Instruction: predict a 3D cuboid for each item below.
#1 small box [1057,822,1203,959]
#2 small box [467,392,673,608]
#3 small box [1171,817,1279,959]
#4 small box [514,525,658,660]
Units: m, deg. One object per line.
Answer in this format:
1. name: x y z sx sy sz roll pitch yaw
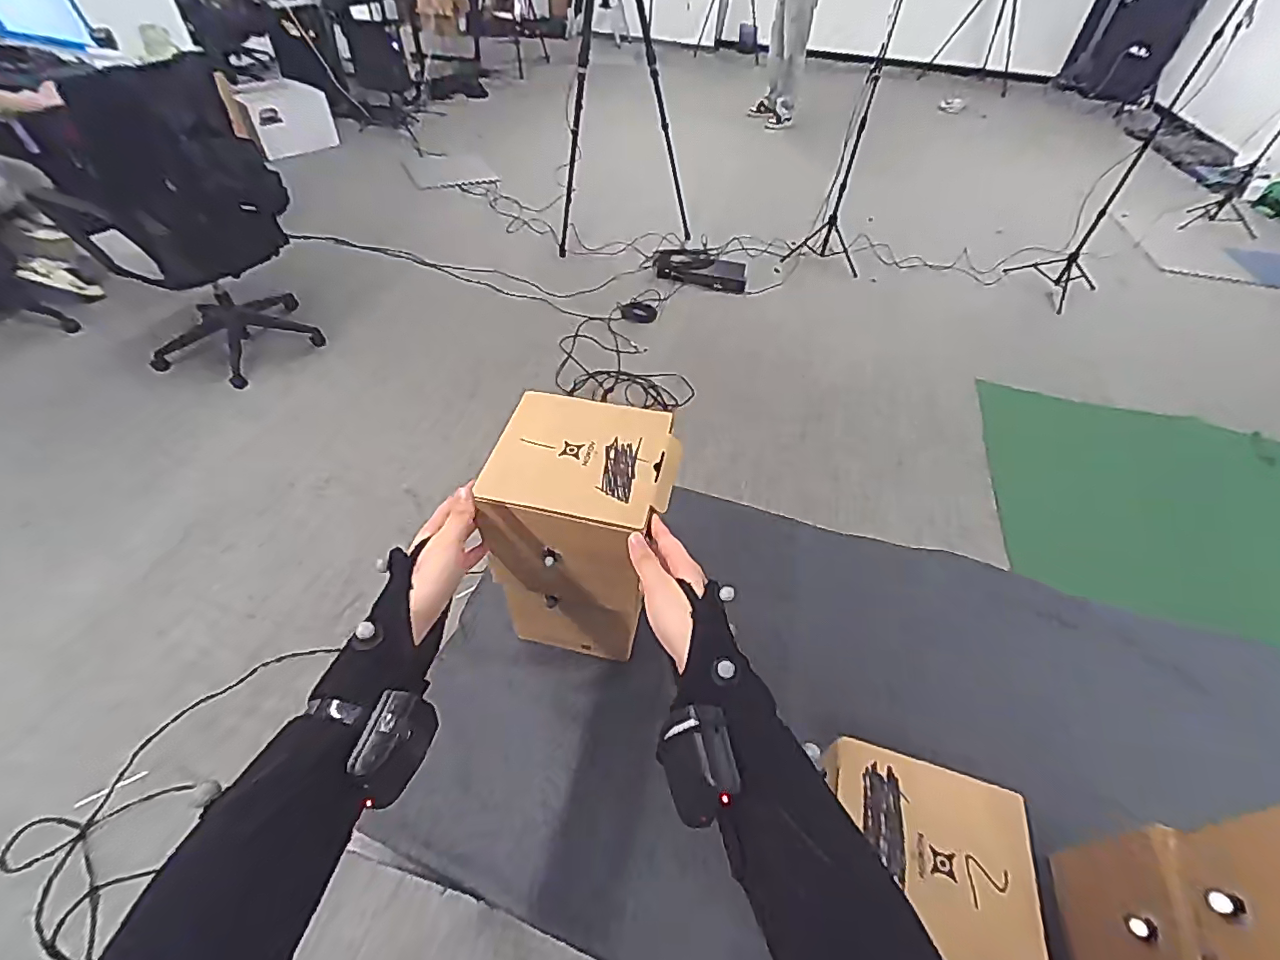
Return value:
1. small box: 0.528 0.454 0.495 0.168 0.176 0.179 14 48 10
2. small box: -0.068 0.026 0.619 0.179 0.176 0.168 10 49 7
3. small box: 0.531 0.352 0.367 0.179 0.176 0.168 22 49 18
4. small box: -0.073 0.123 0.759 0.168 0.176 0.179 11 49 6
